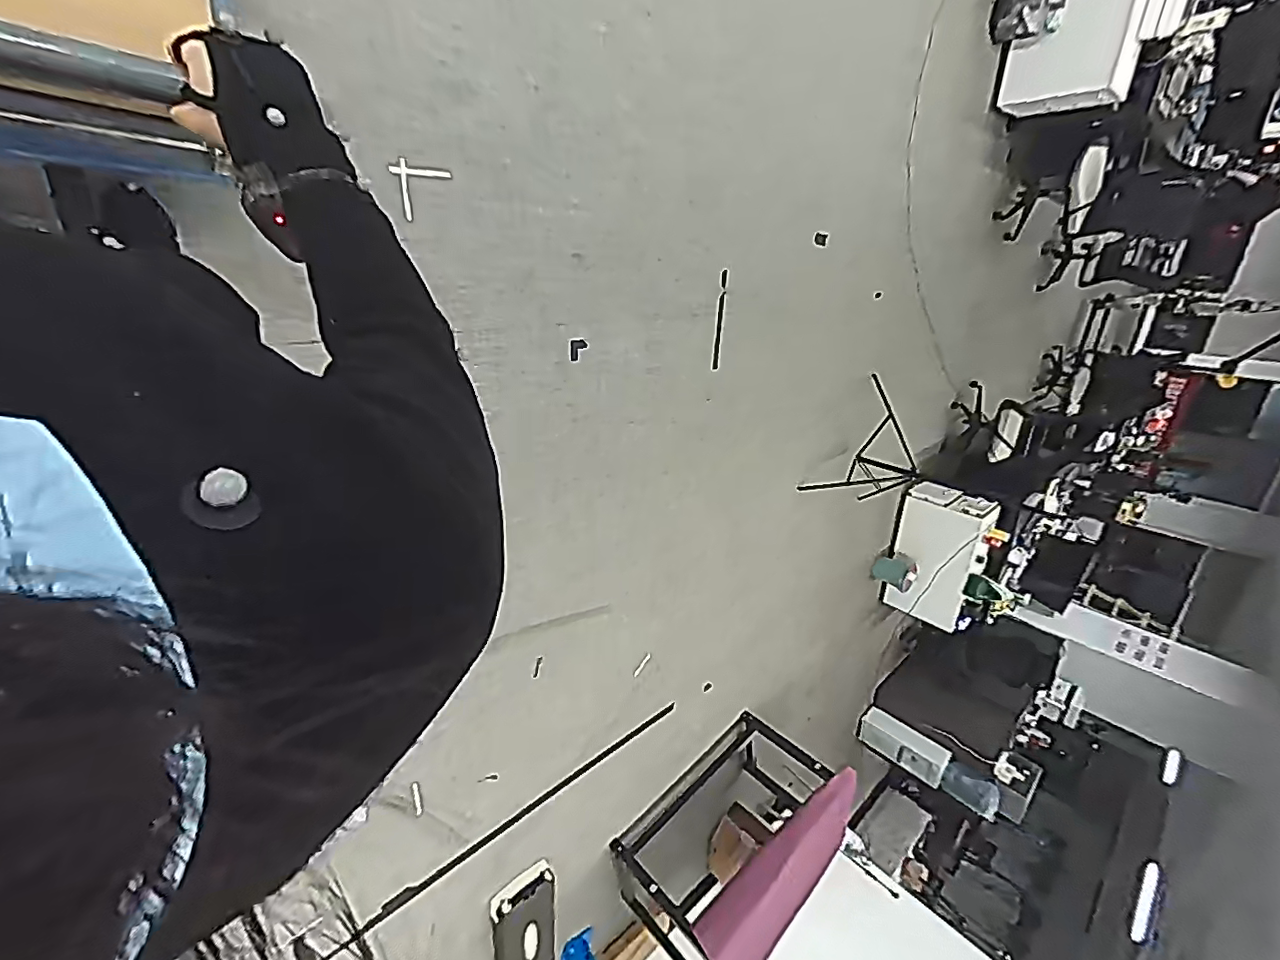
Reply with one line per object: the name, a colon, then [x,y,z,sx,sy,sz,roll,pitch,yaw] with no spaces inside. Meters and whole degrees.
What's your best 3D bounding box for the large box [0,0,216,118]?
large box: [-0.798,-0.665,0.632,0.408,0.320,0.320,-15,119,-42]
